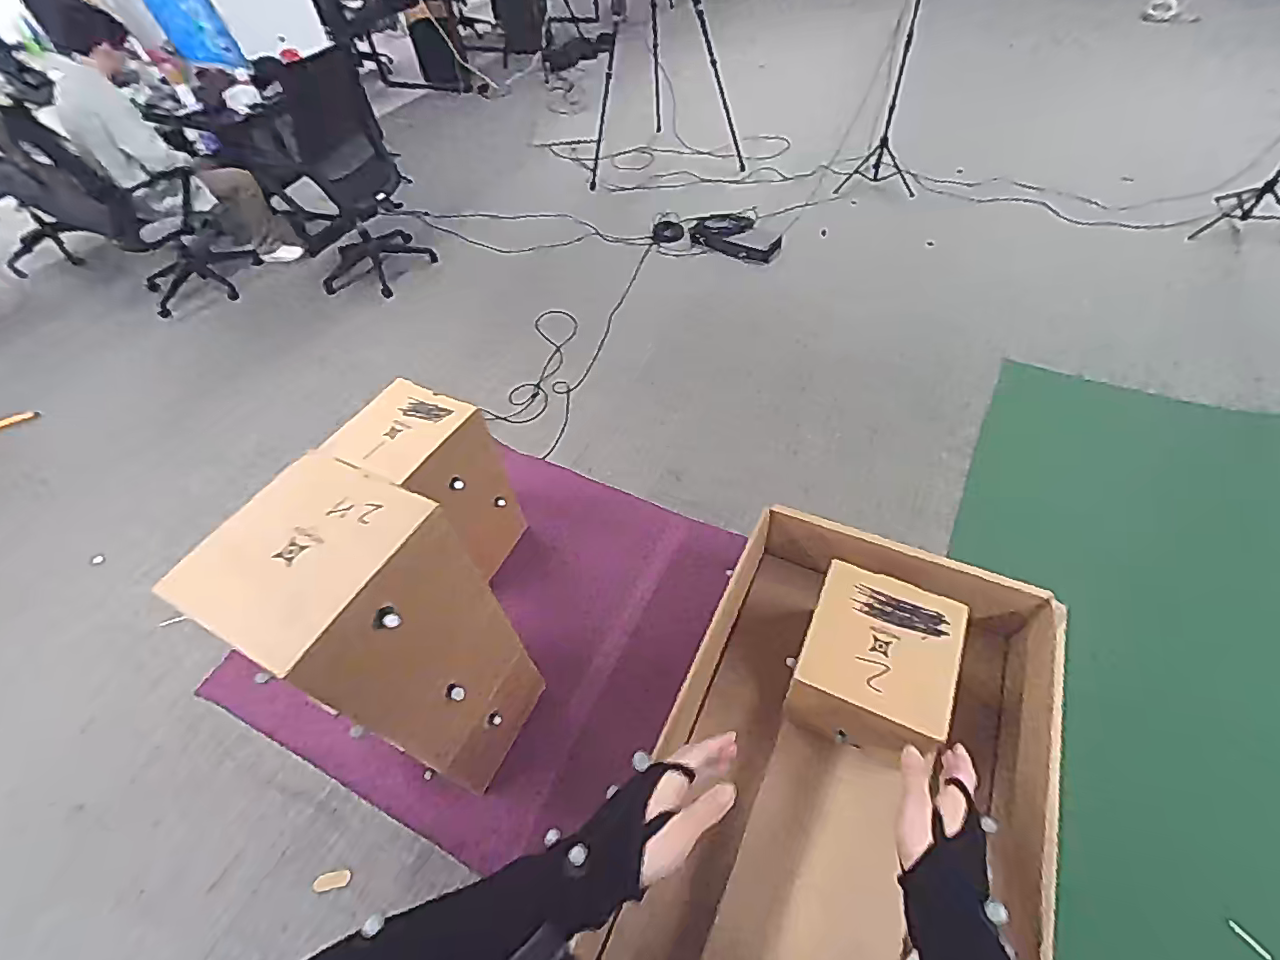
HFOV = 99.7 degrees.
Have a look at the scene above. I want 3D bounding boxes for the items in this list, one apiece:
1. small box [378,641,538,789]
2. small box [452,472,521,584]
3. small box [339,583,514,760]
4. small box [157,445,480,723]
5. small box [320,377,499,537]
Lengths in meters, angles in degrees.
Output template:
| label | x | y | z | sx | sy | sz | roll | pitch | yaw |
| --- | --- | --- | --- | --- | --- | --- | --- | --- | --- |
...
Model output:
| label | x | y | z | sx | sy | sz | roll | pitch | yaw |
| --- | --- | --- | --- | --- | --- | --- | --- | --- | --- |
| small box | -0.267 | 0.311 | 0.778 | 0.168 | 0.176 | 0.179 | 20 | 54 | 19 |
| small box | -0.337 | 0.078 | 0.972 | 0.168 | 0.176 | 0.179 | 18 | 55 | 19 |
| small box | -0.276 | 0.206 | 0.652 | 0.168 | 0.176 | 0.179 | 20 | 56 | 19 |
| small box | -0.283 | 0.103 | 0.523 | 0.168 | 0.176 | 0.179 | 21 | 55 | 19 |
| small box | -0.342 | -0.025 | 0.843 | 0.168 | 0.176 | 0.179 | 22 | 57 | 21 |
